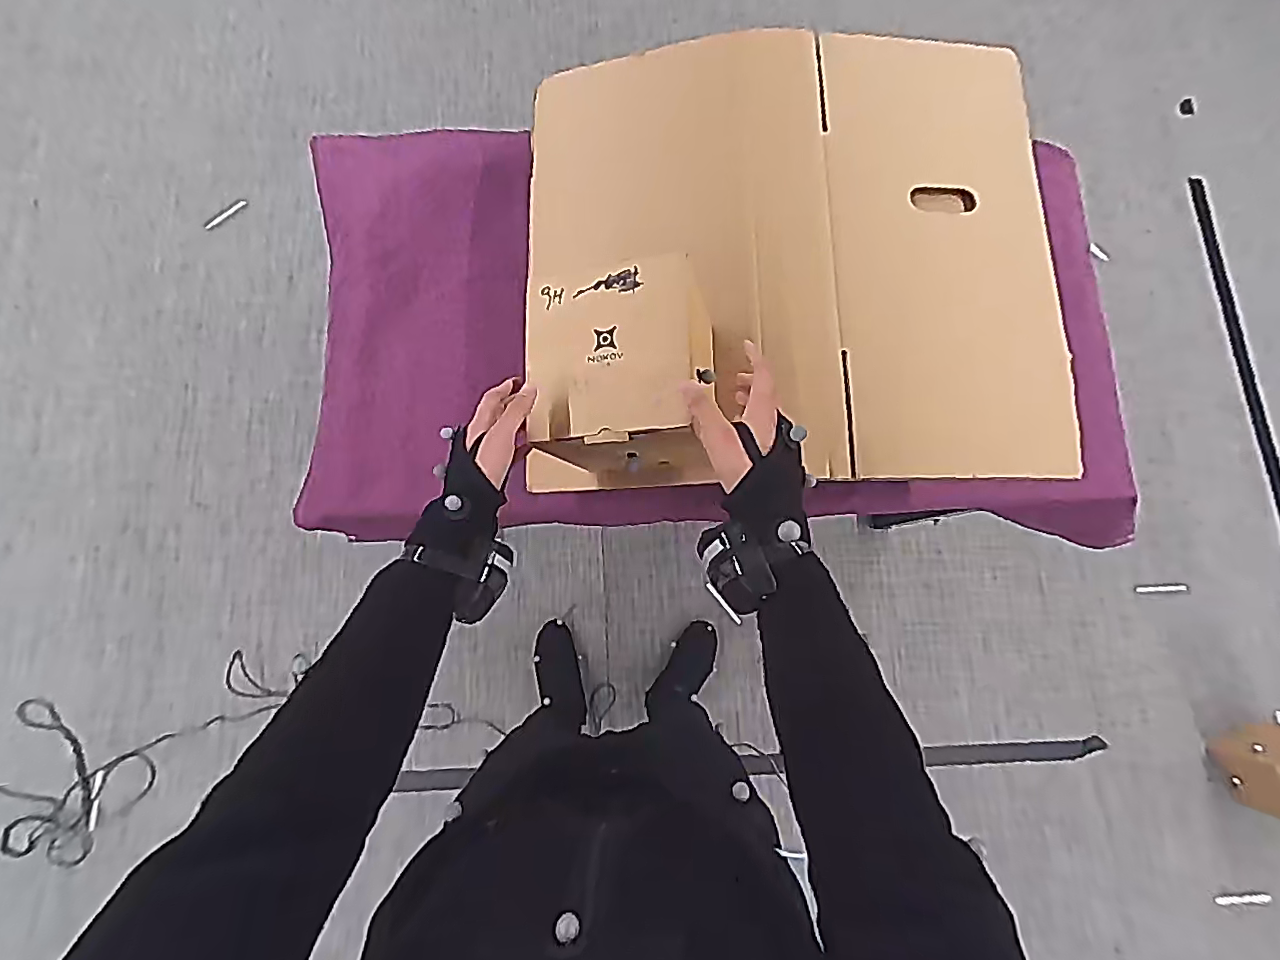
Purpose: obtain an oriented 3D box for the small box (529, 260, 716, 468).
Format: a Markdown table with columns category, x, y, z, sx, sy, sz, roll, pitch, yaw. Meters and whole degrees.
| category | x | y | z | sx | sy | sz | roll | pitch | yaw |
| --- | --- | --- | --- | --- | --- | --- | --- | --- | --- |
| small box | -0.010 | -0.109 | 0.598 | 0.168 | 0.176 | 0.179 | -3 | 81 | 15 |
